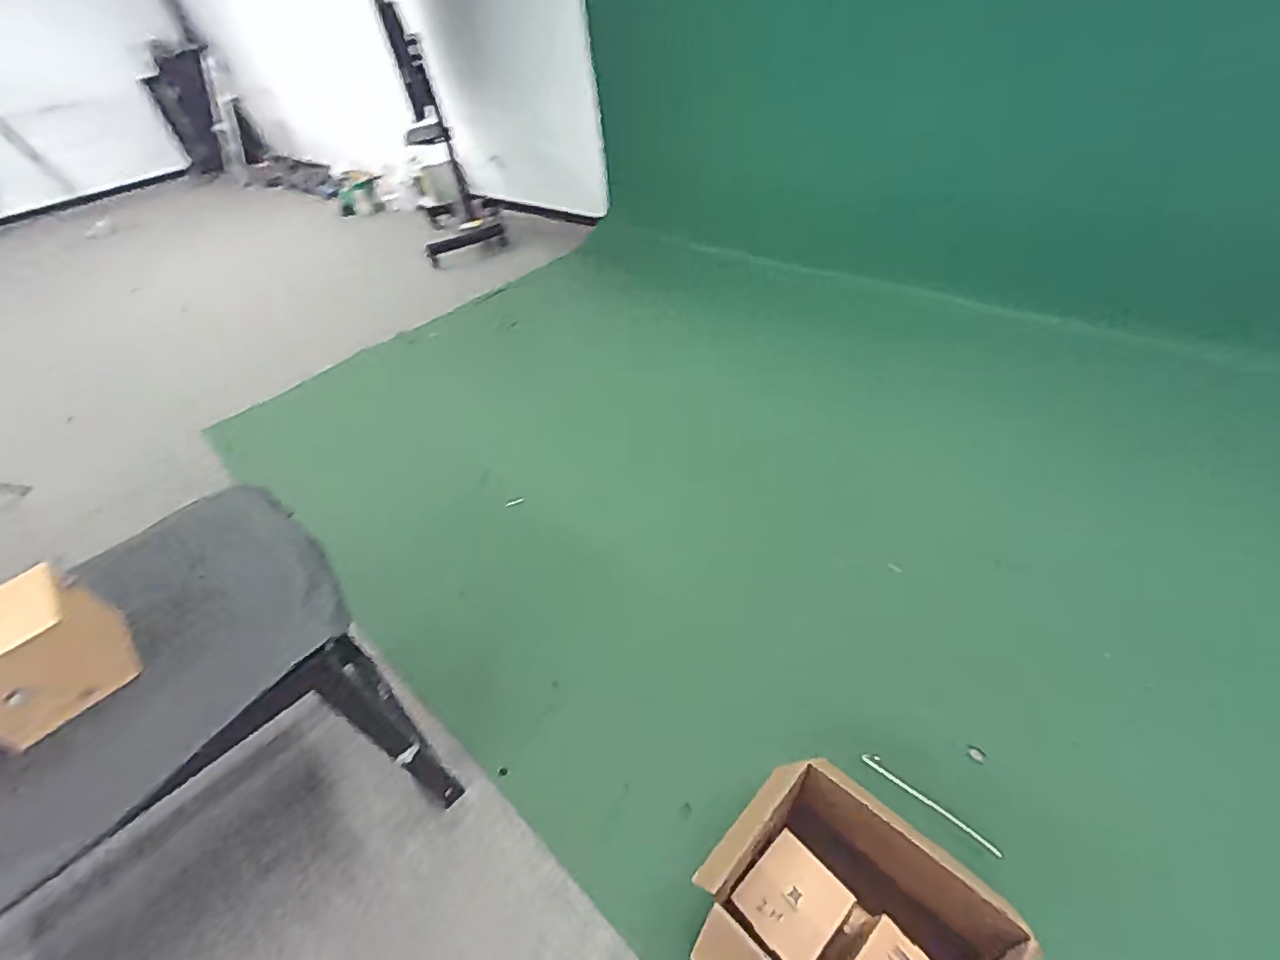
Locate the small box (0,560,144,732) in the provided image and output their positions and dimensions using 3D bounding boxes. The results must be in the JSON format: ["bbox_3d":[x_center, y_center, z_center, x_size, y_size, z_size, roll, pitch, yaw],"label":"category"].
[{"bbox_3d":[-0.945,0.267,0.858,0.179,0.176,0.168,30,56,34],"label":"small box"}]
